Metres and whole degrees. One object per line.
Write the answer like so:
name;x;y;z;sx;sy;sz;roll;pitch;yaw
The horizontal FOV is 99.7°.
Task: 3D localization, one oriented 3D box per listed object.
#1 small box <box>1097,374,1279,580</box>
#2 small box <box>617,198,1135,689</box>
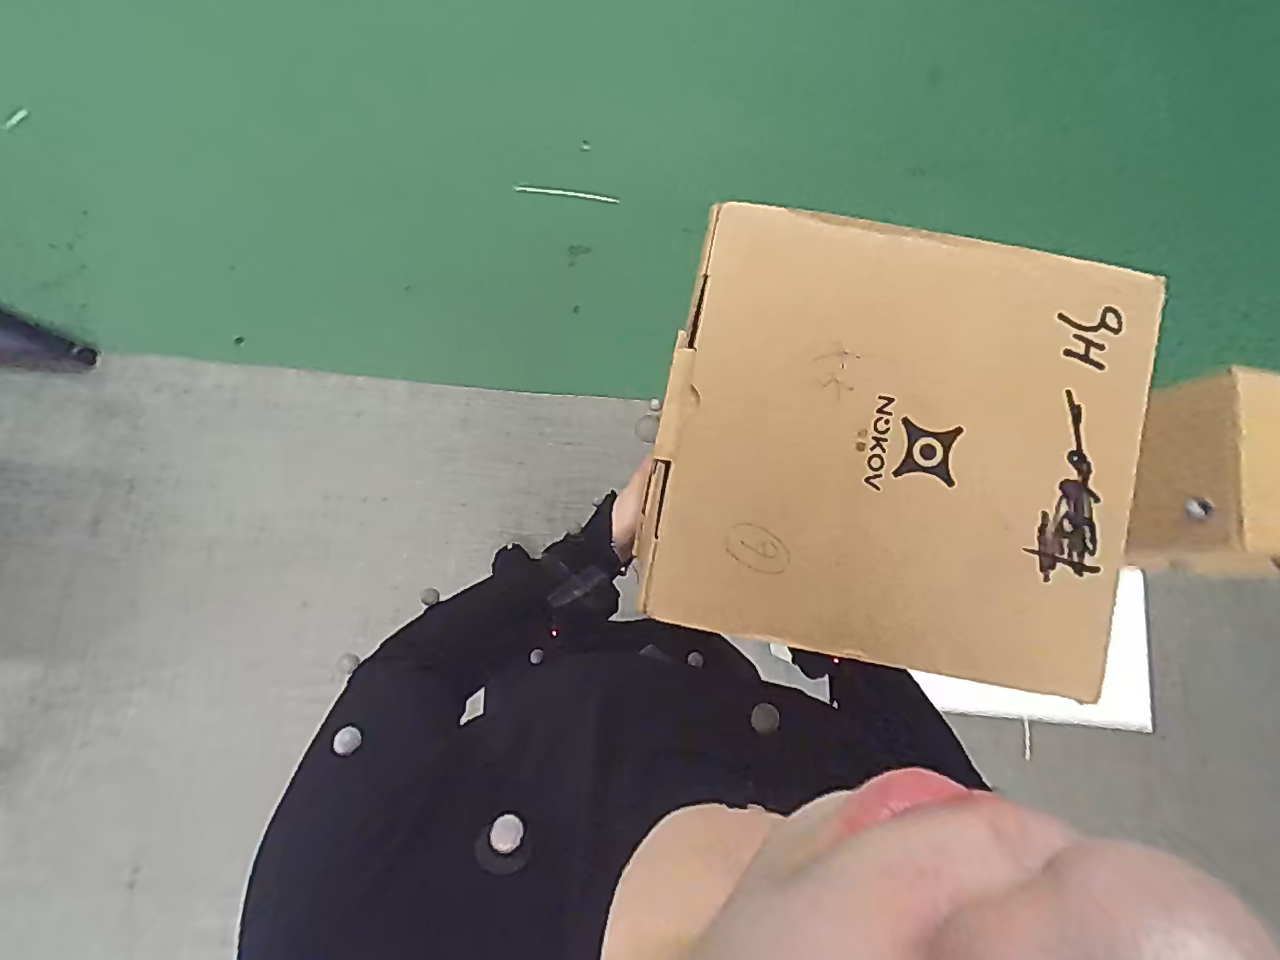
small box;0.618;0.009;0.579;0.168;0.176;0.179;9;81;-4
small box;0.092;-0.013;0.285;0.179;0.176;0.168;10;88;1
